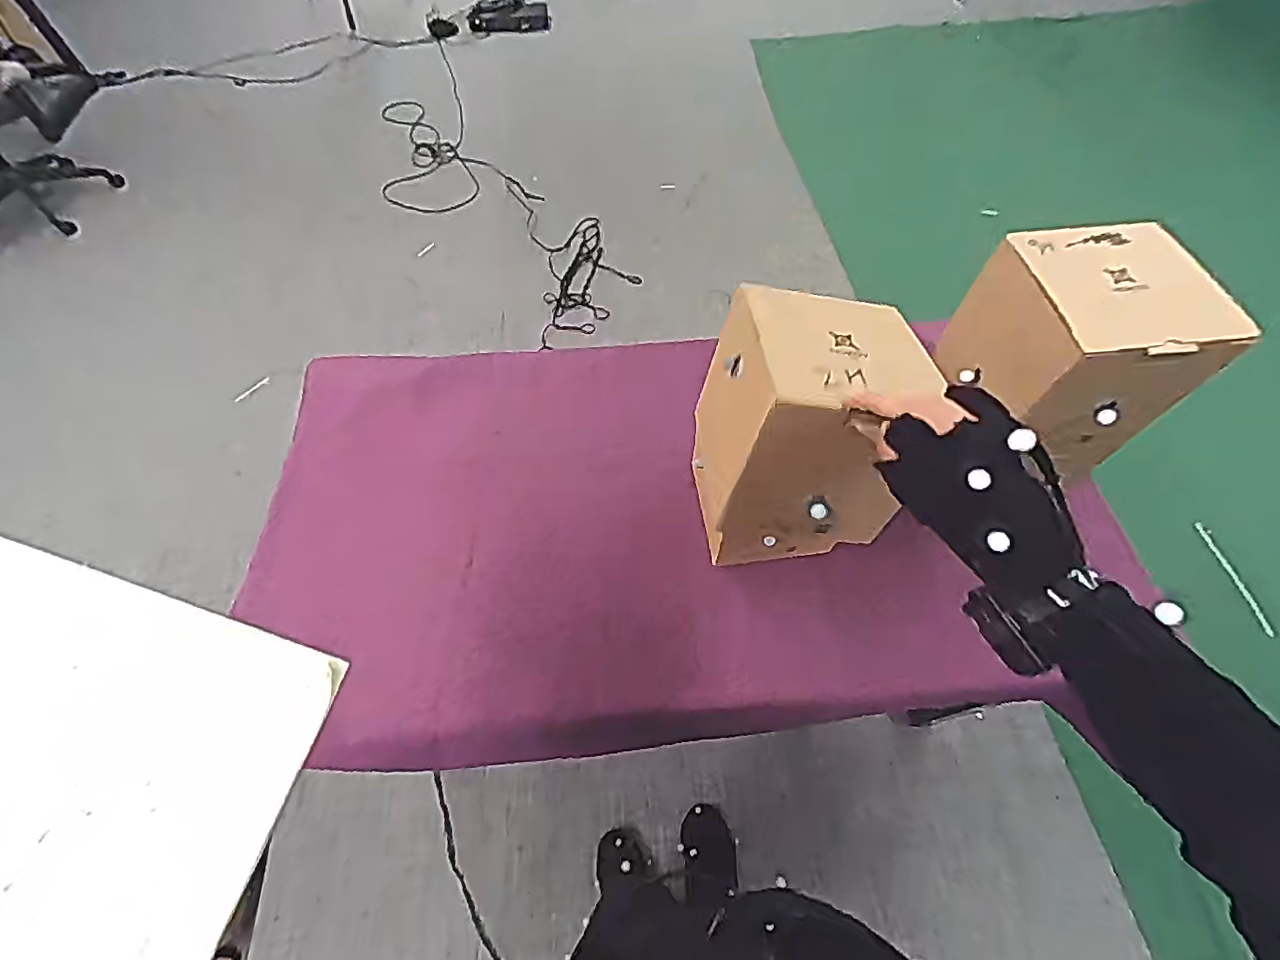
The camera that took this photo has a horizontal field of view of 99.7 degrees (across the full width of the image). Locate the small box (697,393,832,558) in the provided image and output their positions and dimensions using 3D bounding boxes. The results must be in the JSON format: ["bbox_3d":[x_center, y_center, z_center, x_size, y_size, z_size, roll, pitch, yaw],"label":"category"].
[{"bbox_3d":[0.172,-0.006,0.718,0.168,0.176,0.179,-7,59,-2],"label":"small box"}]

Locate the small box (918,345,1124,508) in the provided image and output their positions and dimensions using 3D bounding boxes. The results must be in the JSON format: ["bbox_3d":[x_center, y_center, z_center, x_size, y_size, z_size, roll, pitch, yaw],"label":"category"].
[{"bbox_3d":[0.484,-0.071,0.742,0.168,0.176,0.179,-4,59,0],"label":"small box"}]

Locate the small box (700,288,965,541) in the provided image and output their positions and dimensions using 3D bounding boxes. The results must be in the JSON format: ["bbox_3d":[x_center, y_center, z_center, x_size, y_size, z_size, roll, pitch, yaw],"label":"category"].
[{"bbox_3d":[0.163,-0.061,0.531,0.168,0.176,0.179,3,50,-8],"label":"small box"}]

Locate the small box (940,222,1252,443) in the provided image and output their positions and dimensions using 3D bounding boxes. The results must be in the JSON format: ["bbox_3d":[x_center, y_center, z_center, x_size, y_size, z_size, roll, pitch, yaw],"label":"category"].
[{"bbox_3d":[0.473,-0.153,0.600,0.168,0.176,0.179,-4,60,-1],"label":"small box"}]
